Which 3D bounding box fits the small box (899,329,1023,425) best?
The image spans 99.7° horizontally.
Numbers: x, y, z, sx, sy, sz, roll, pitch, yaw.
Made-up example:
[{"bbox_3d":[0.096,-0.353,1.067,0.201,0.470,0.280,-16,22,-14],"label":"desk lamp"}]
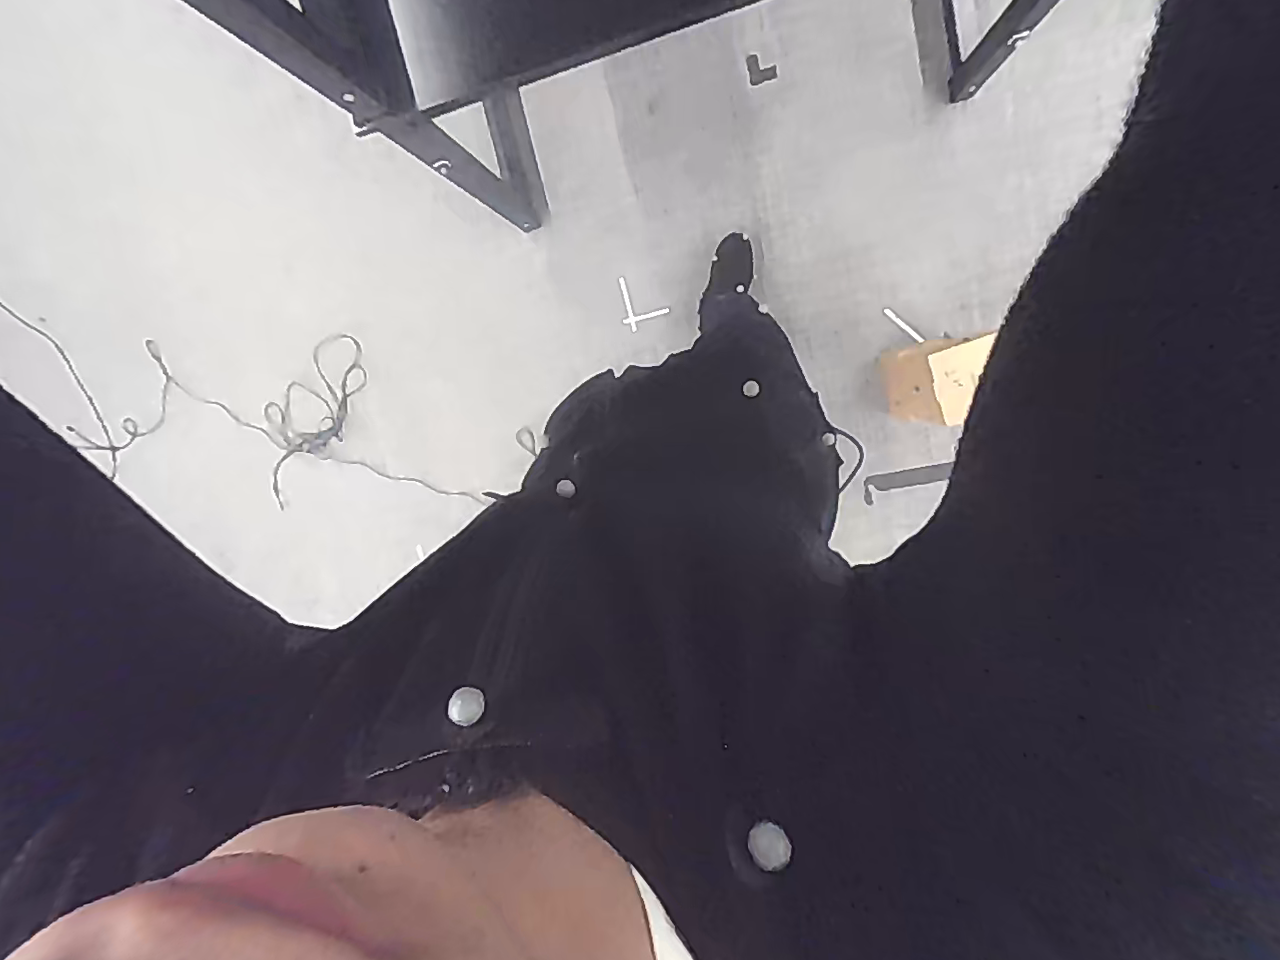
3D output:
[{"bbox_3d":[0.722,-0.237,1.231,0.179,0.176,0.168,-17,100,12],"label":"small box"}]
